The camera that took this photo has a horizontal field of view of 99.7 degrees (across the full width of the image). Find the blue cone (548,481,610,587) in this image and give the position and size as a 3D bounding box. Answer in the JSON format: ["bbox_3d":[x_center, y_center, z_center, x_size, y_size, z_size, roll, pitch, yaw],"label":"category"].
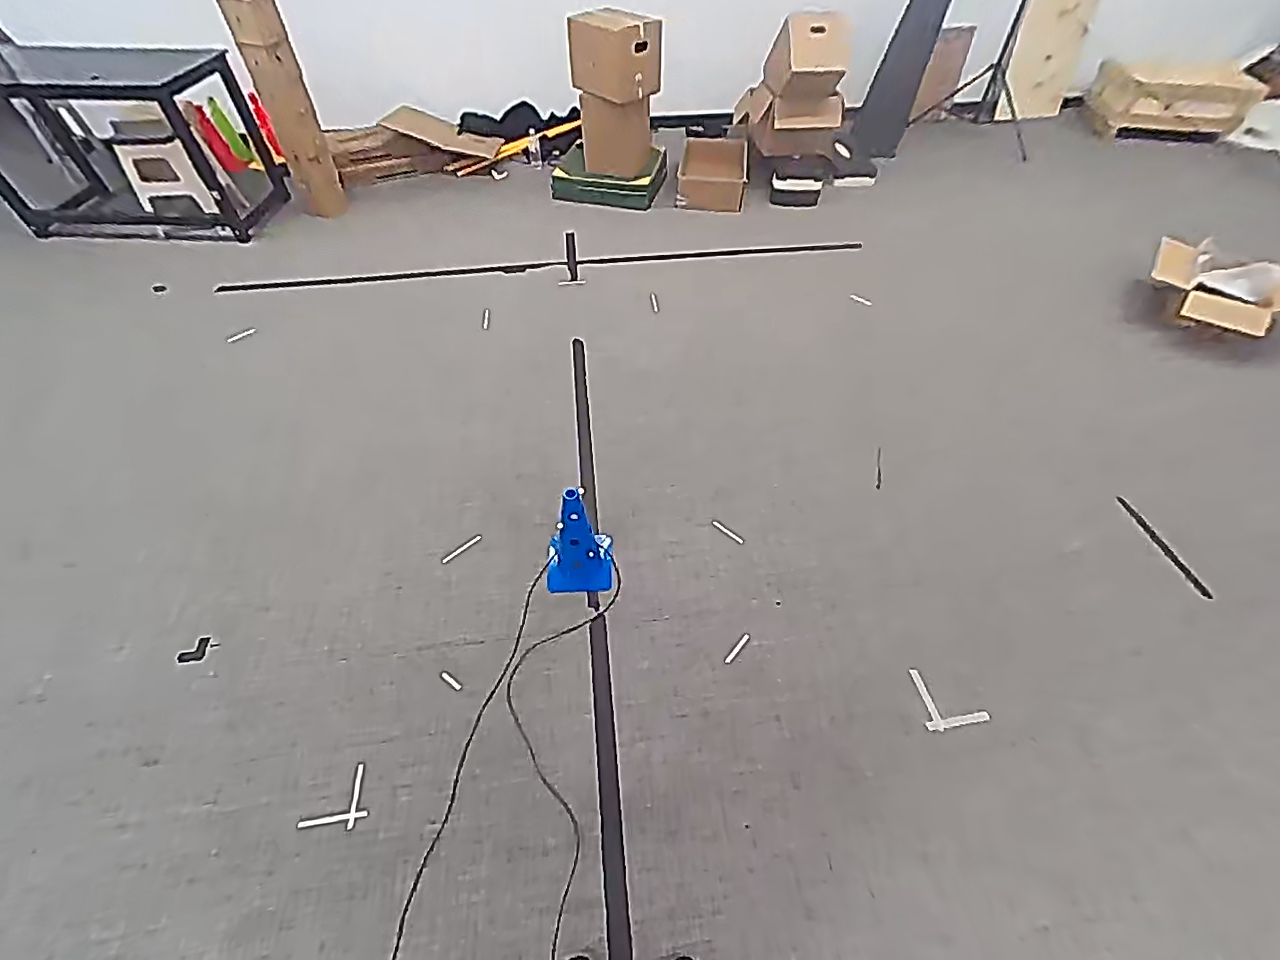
[{"bbox_3d":[-0.189,0.140,1.547,0.193,0.380,0.192,-3,51,-2],"label":"blue cone"}]
